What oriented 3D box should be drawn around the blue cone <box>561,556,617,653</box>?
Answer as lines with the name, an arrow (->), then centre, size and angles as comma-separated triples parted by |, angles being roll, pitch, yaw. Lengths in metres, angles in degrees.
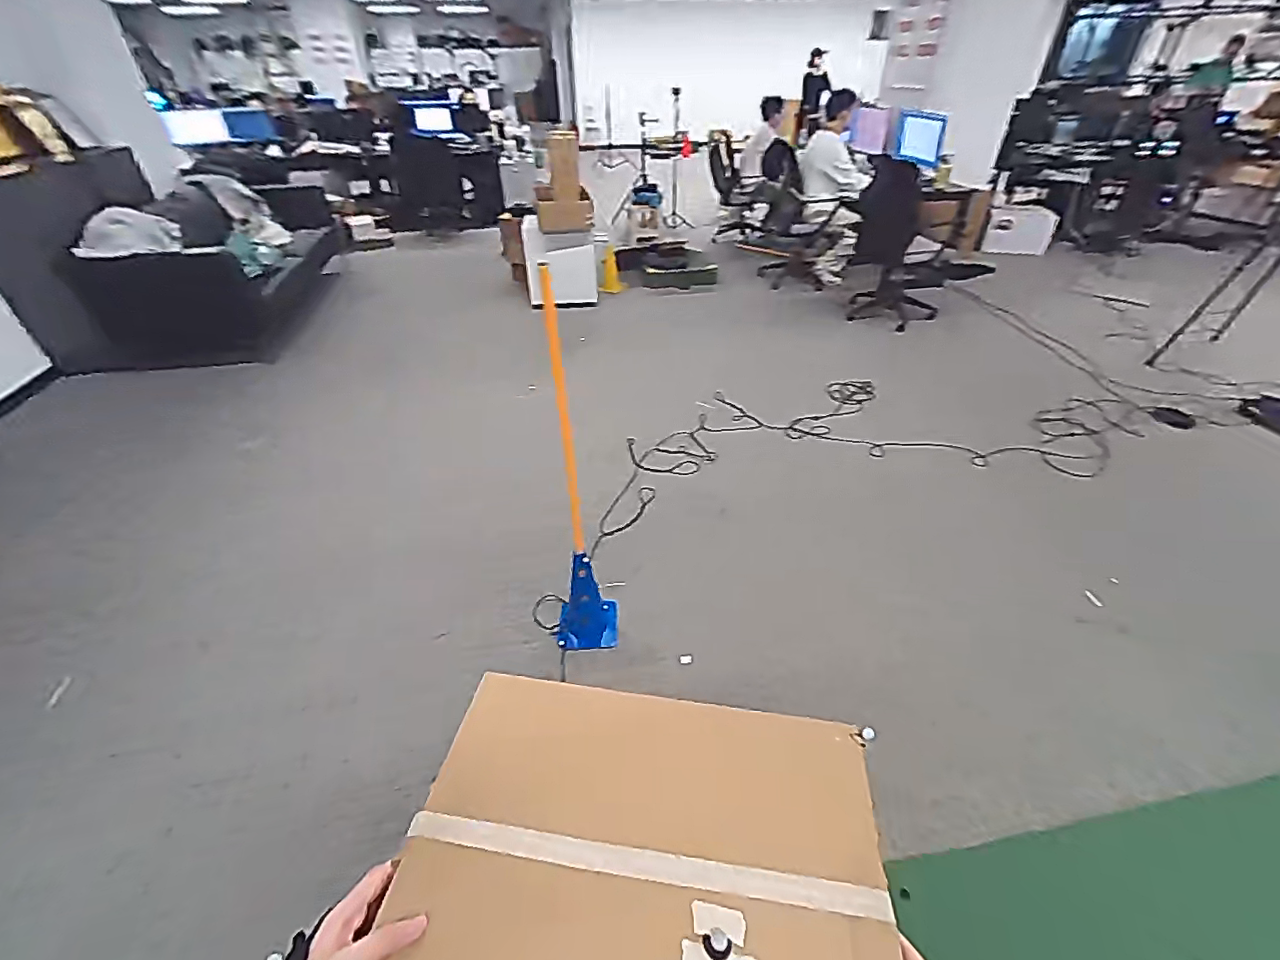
blue cone -> -0.177, 0.383, 1.765 | 0.193, 0.380, 0.192 | -1, 38, 0

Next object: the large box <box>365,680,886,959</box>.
large box -> -0.005, 0.449, 0.553 | 0.408, 0.320, 0.320 | 6, 37, 6
